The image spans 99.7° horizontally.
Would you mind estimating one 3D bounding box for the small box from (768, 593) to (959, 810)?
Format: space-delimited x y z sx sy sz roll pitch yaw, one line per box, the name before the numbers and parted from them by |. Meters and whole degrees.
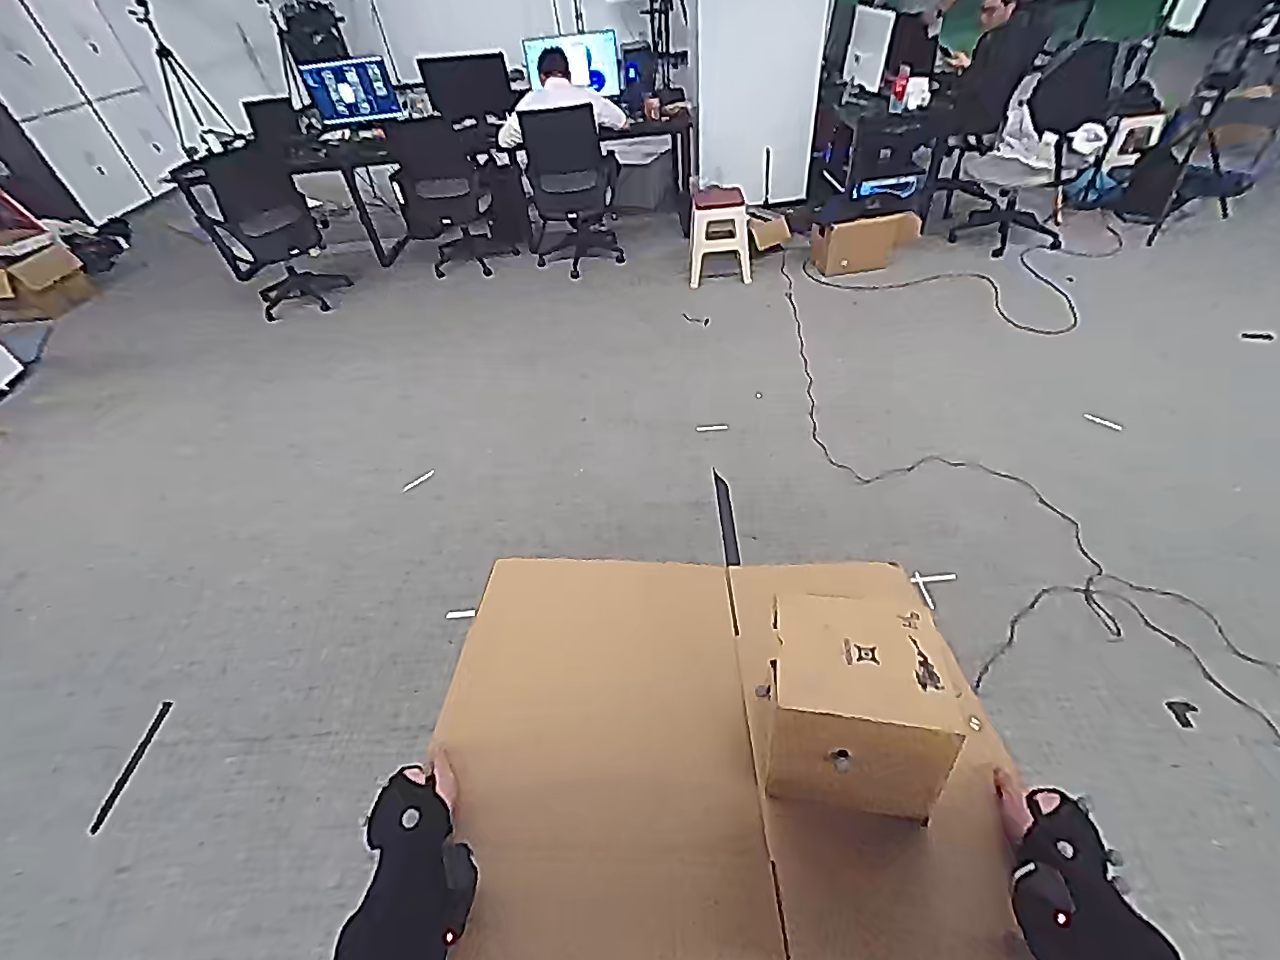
small box | 0.243 0.256 0.635 0.179 0.176 0.168 2 34 13
